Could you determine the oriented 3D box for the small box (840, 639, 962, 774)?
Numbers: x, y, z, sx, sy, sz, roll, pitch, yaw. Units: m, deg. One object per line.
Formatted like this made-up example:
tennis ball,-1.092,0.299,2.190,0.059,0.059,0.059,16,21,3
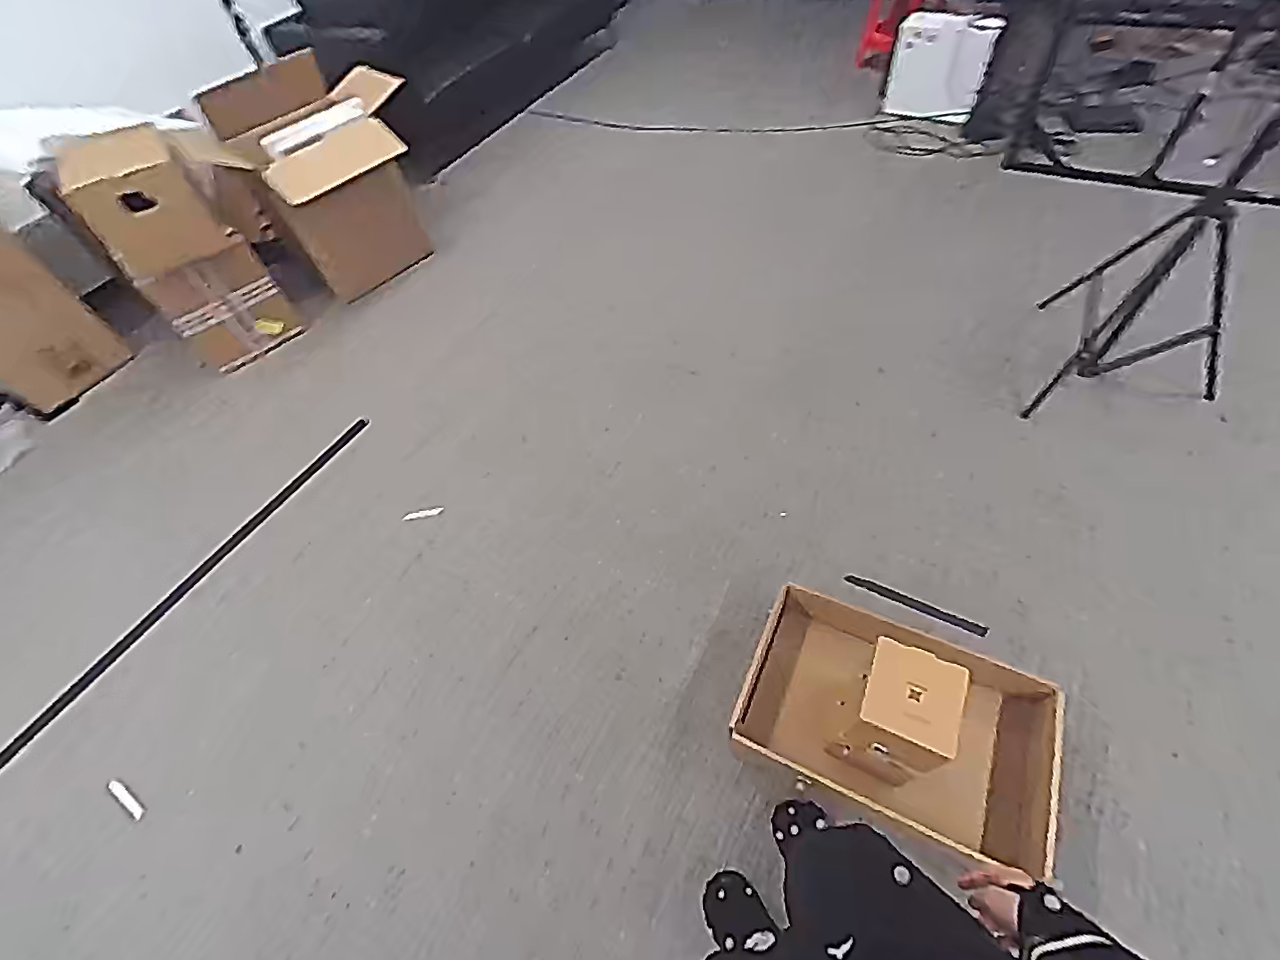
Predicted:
small box,0.512,0.454,1.077,0.168,0.176,0.179,19,59,19
